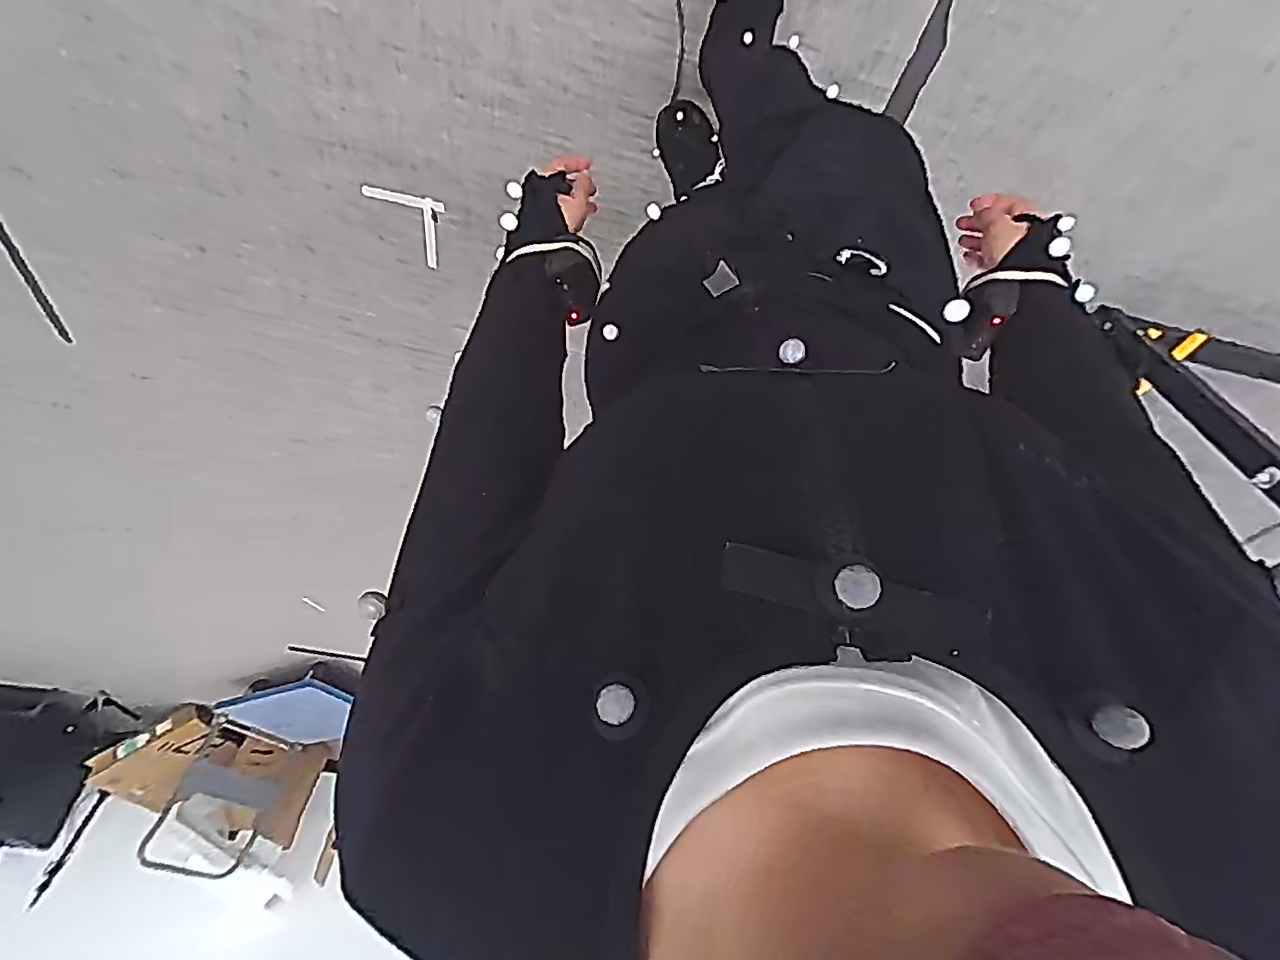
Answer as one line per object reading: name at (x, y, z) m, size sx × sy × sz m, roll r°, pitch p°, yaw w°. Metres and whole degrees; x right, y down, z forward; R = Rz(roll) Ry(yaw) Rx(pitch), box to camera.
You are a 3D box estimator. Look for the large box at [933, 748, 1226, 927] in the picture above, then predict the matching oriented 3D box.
large box at (1.044, 0.894, 1.348) m, size 0.408 × 0.320 × 0.320 m, roll 10°, pitch 136°, yaw -8°
